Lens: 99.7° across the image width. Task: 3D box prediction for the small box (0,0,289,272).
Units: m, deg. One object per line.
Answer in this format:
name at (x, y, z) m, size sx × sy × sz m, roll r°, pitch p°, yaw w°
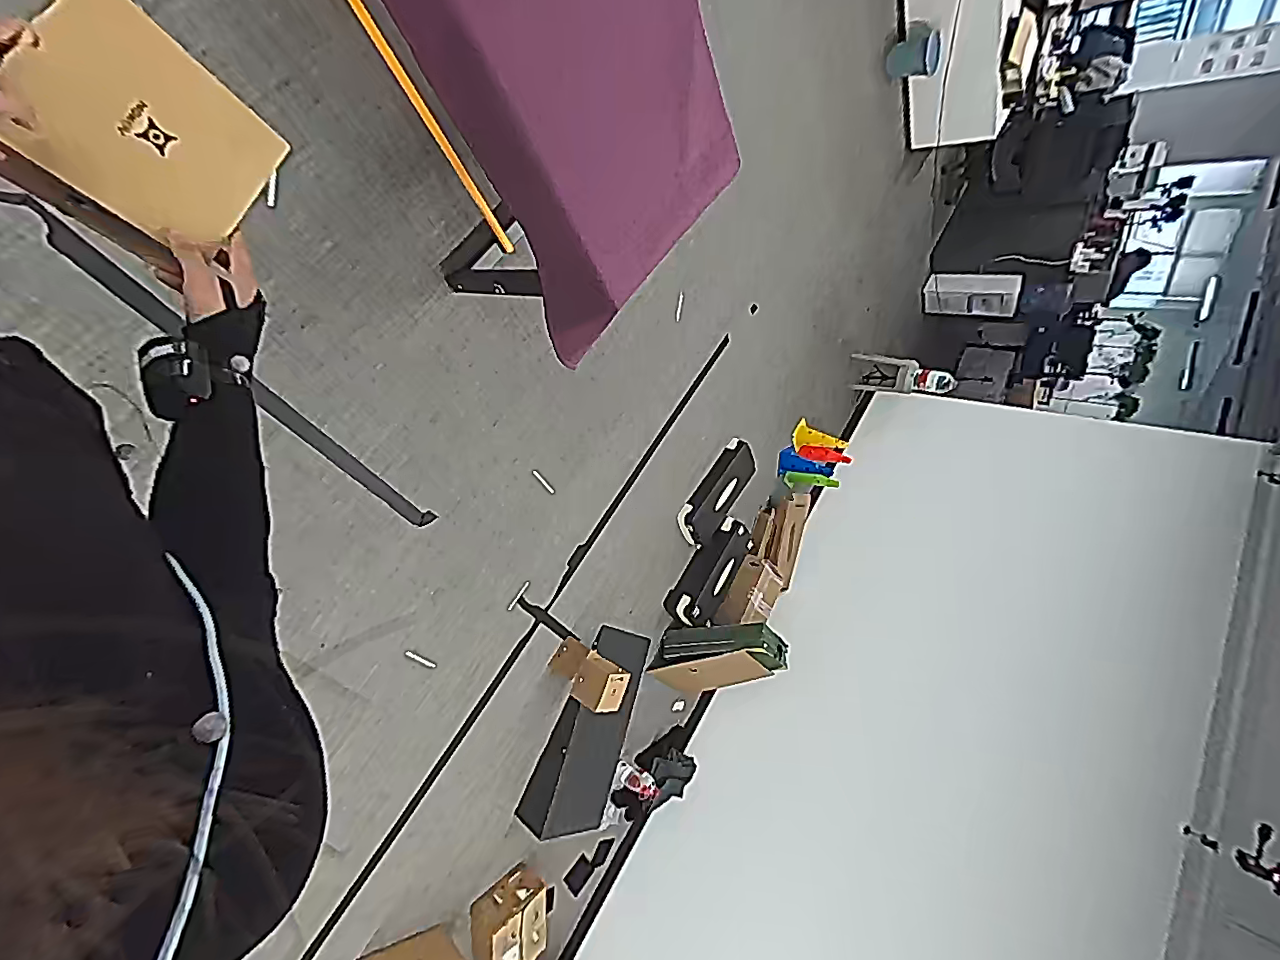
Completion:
small box at (-0.505, -0.333, 0.535) m, size 0.179 × 0.176 × 0.168 m, roll 39°, pitch 72°, yaw -53°
